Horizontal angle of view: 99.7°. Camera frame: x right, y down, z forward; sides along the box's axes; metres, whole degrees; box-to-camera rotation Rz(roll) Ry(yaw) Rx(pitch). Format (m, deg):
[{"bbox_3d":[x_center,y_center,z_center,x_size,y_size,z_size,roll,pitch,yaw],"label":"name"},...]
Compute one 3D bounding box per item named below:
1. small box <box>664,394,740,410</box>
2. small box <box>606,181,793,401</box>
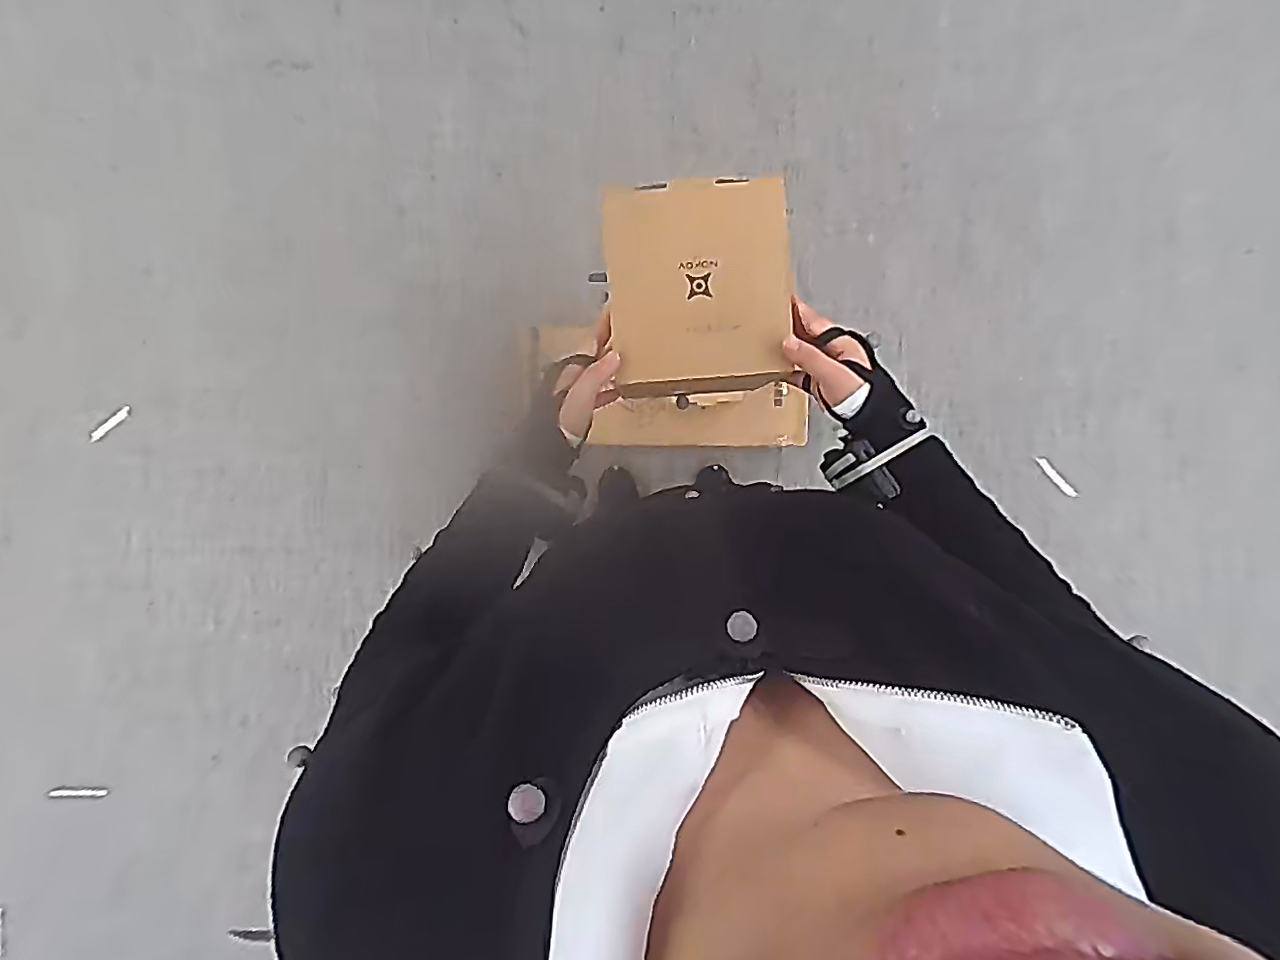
[{"bbox_3d":[0.144,-0.262,1.312,0.168,0.176,0.179,-2,91,-2],"label":"small box"},{"bbox_3d":[0.052,-0.182,0.568,0.168,0.176,0.179,-4,94,0],"label":"small box"}]
